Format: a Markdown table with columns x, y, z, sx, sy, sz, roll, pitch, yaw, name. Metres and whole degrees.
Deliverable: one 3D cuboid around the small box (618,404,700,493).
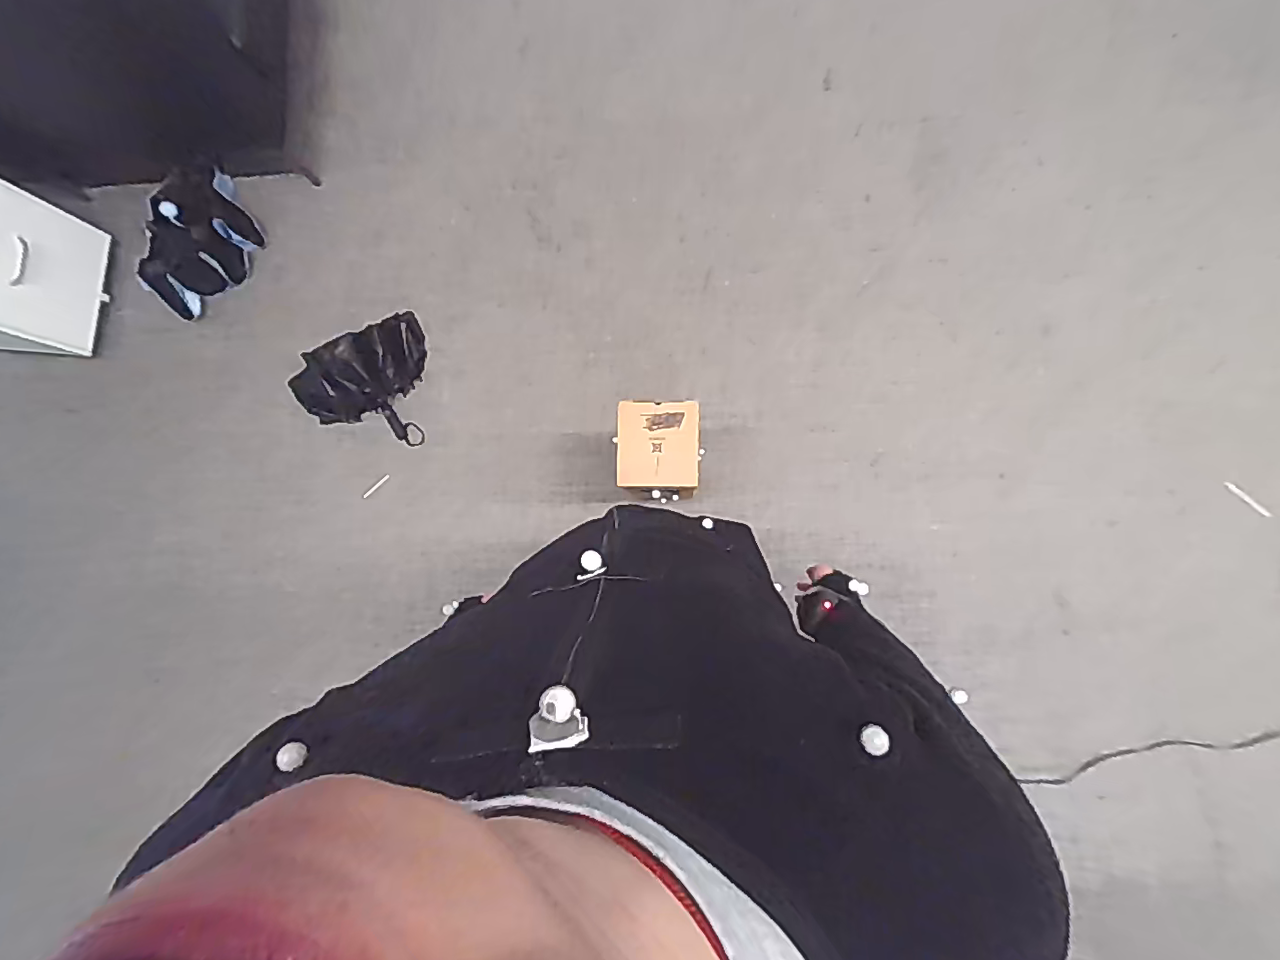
| x | y | z | sx | sy | sz | roll | pitch | yaw | name |
| --- | --- | --- | --- | --- | --- | --- | --- | --- | --- |
| 0.042 | -0.063 | 1.182 | 0.168 | 0.176 | 0.179 | 0 | 87 | 4 | small box |
